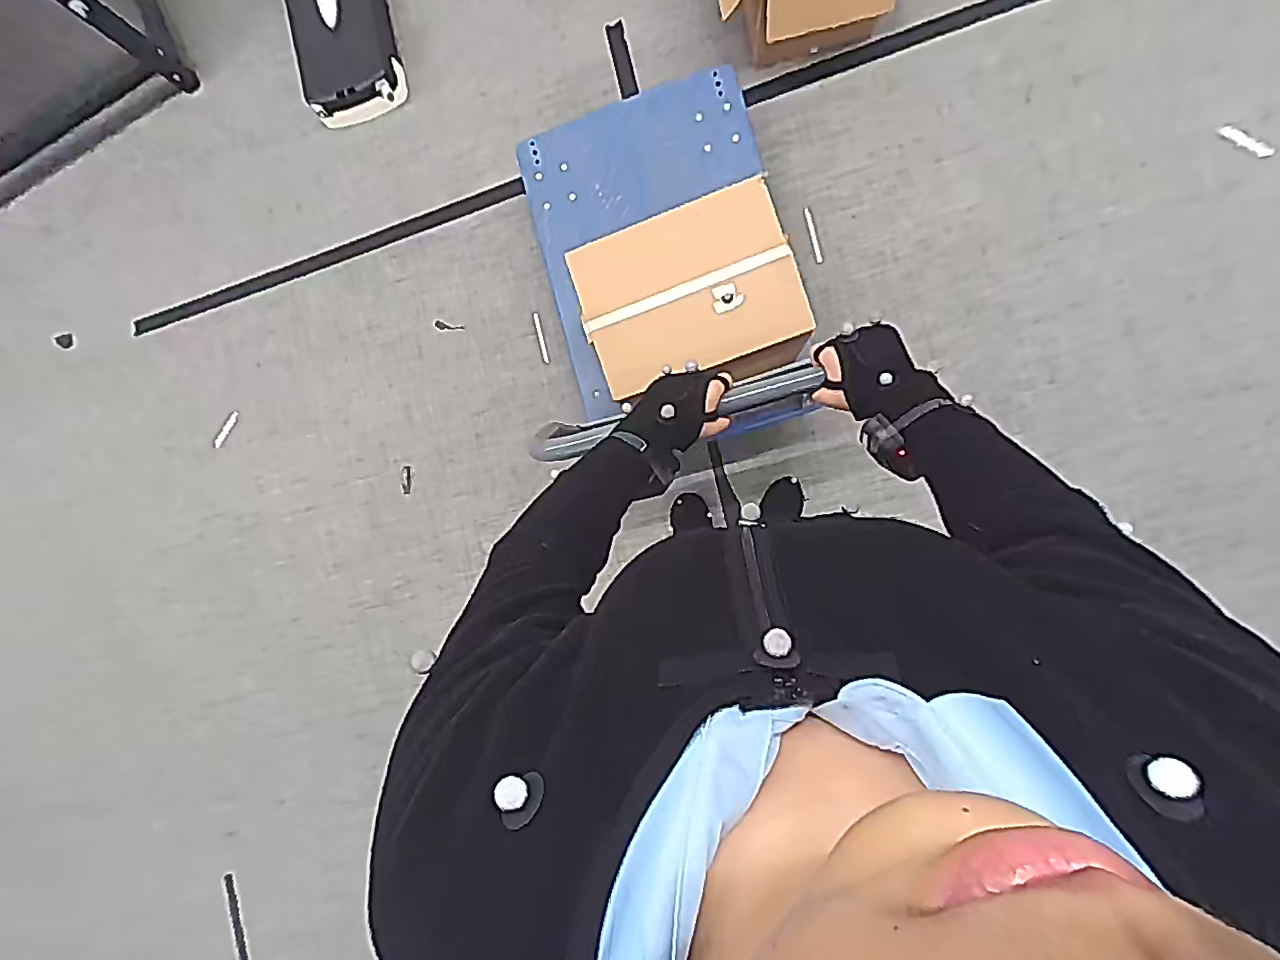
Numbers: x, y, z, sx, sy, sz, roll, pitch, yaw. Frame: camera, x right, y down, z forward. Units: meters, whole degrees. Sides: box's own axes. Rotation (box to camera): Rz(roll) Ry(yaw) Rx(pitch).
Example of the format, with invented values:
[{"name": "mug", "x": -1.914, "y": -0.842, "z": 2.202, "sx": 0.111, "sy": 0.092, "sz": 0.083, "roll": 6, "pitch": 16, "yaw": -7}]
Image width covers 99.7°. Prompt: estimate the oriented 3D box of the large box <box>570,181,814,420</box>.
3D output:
[{"name": "large box", "x": 0.111, "y": -0.356, "z": 1.185, "sx": 0.408, "sy": 0.320, "sz": 0.320, "roll": -19, "pitch": 88, "yaw": 7}]
